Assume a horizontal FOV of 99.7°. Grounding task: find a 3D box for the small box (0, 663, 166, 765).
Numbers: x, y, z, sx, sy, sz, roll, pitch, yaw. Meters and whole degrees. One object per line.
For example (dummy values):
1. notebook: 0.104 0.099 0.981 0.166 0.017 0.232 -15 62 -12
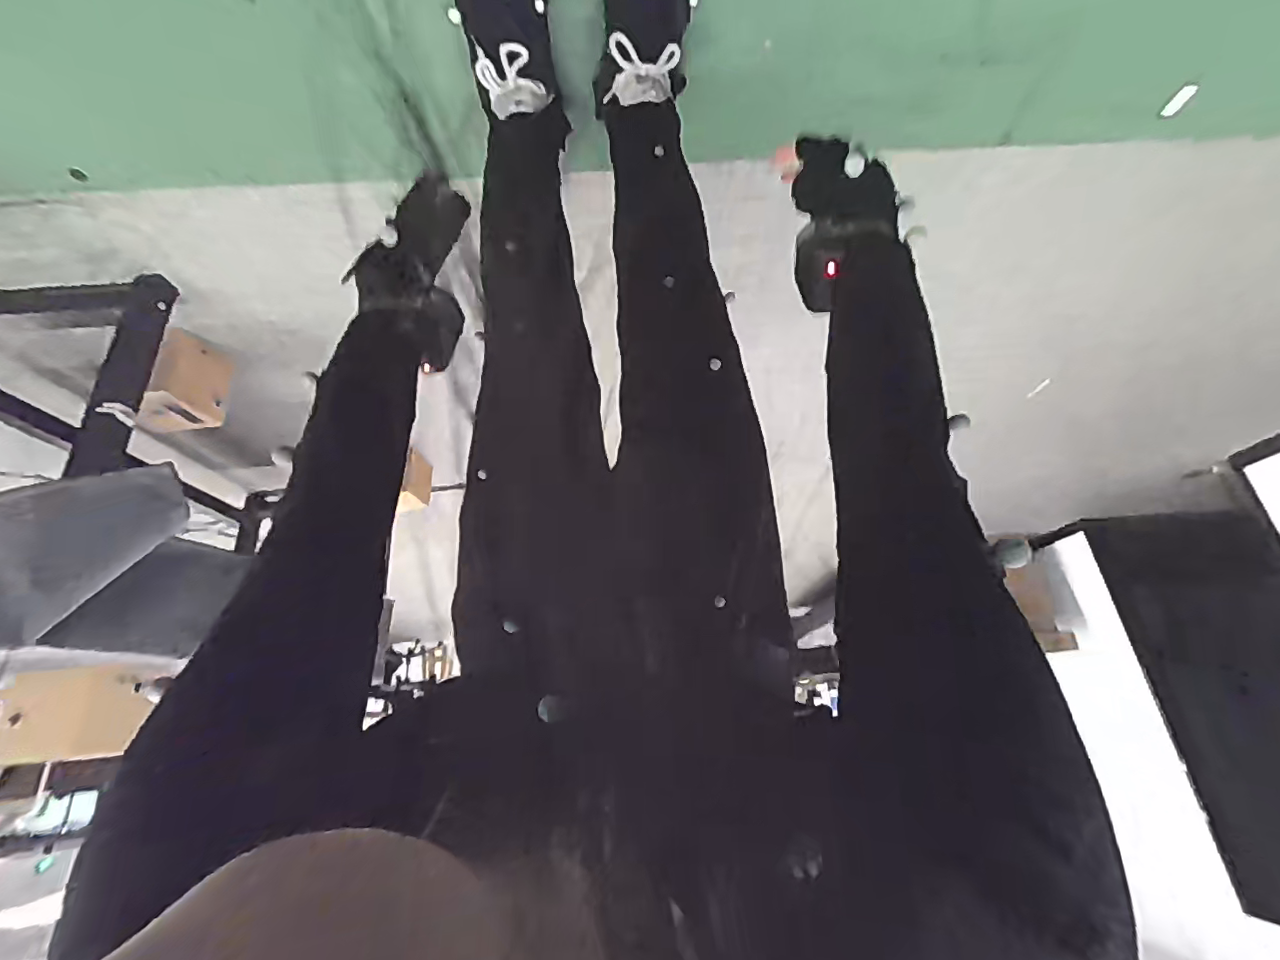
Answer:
1. small box: -1.121 0.470 1.093 0.179 0.176 0.168 -5 158 1
